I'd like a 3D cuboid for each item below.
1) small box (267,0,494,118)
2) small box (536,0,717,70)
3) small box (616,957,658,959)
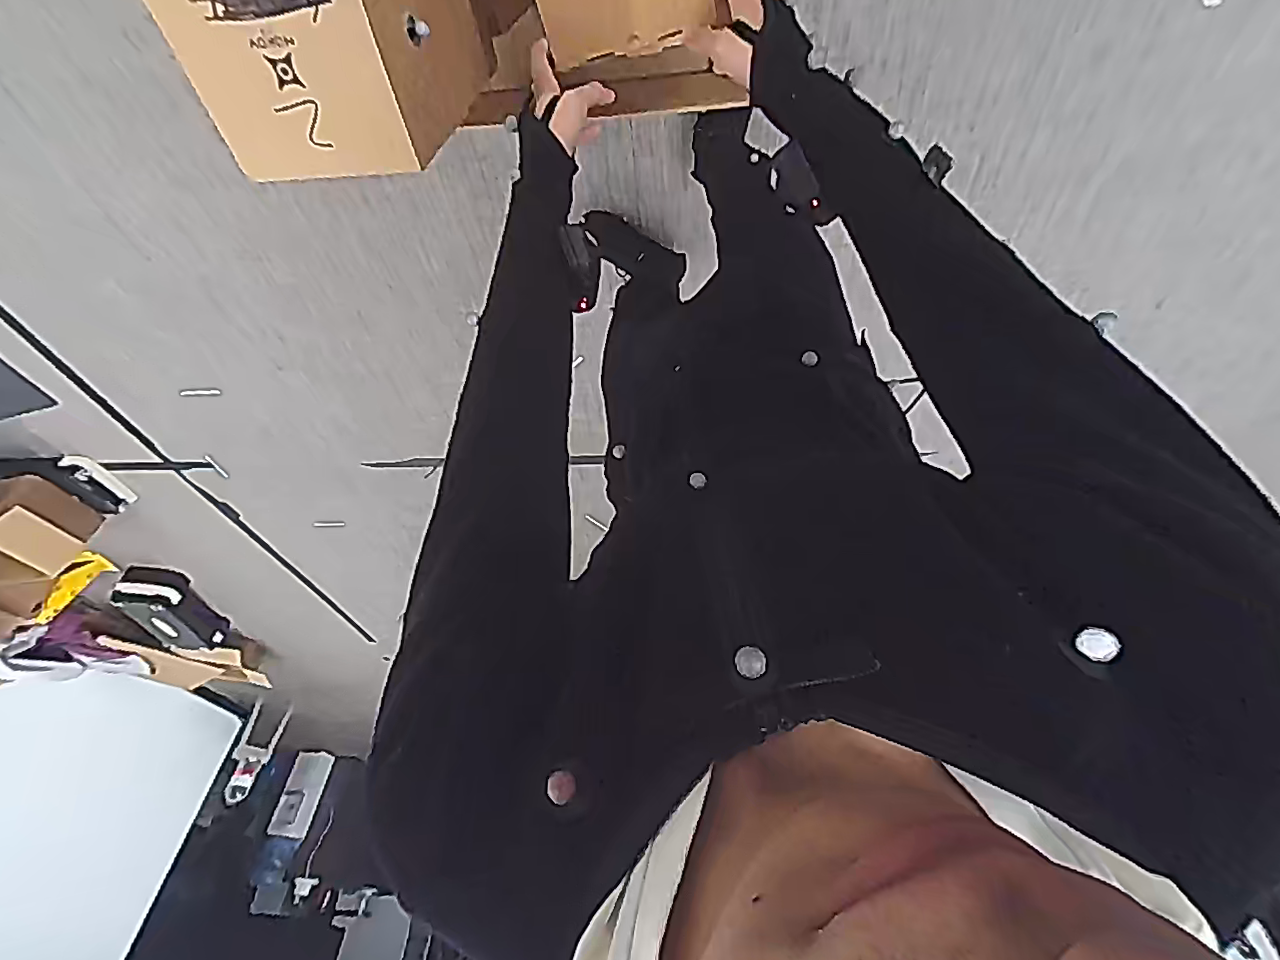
[{"bbox_3d":[-0.272,-0.513,0.575,0.168,0.176,0.179,0,138,6],"label":"small box"},{"bbox_3d":[-0.022,-0.538,0.522,0.168,0.176,0.179,-7,137,13],"label":"small box"},{"bbox_3d":[-0.013,1.905,2.025,0.168,0.176,0.179,-3,140,7],"label":"small box"}]
